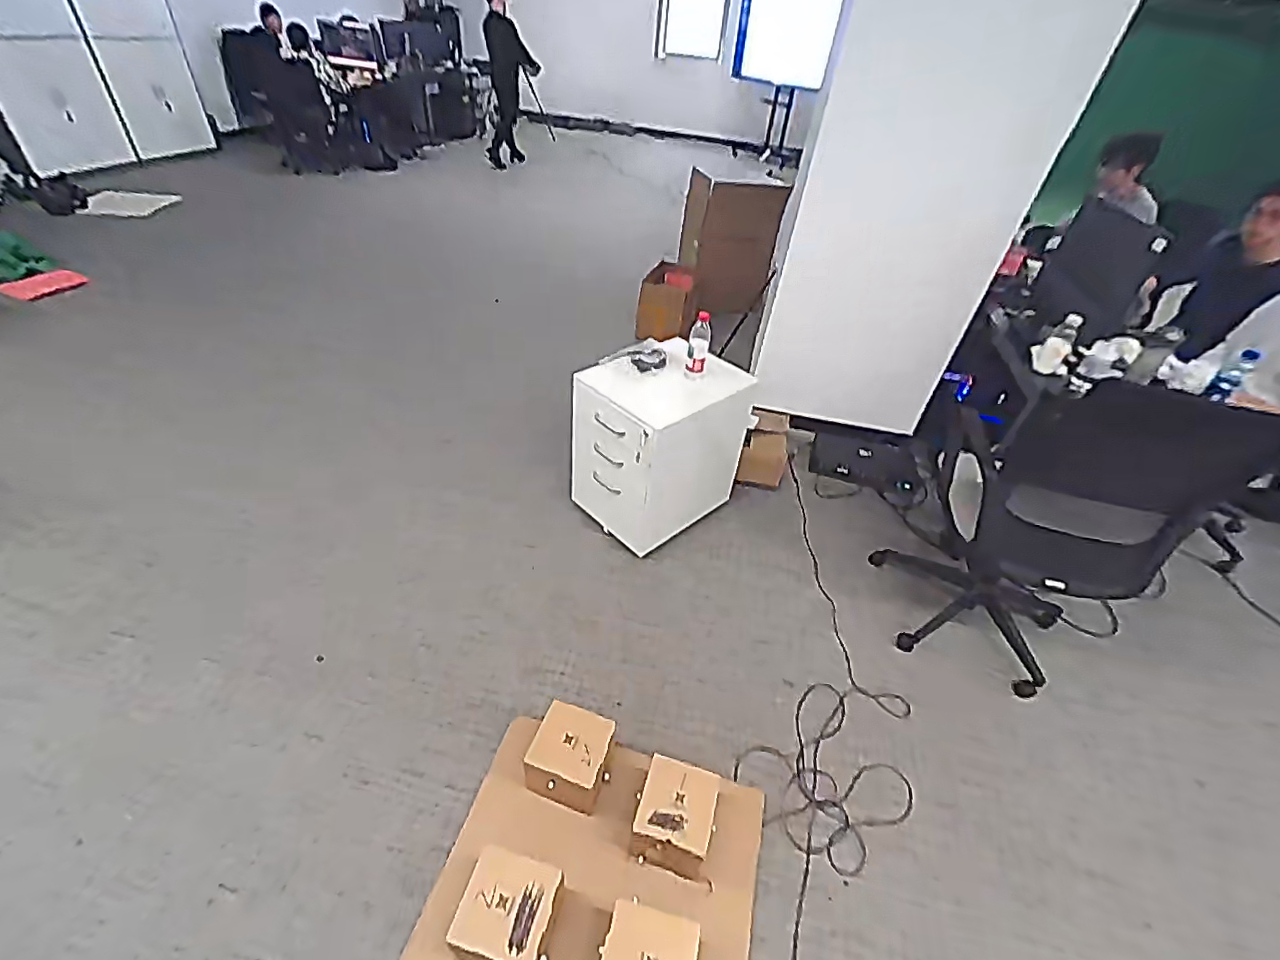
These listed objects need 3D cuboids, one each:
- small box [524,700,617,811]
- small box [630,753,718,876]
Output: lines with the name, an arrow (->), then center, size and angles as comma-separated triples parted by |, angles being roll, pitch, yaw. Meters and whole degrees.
small box -> -0.172, 0.691, 1.351 | 0.179, 0.176, 0.168 | 17, 42, 12
small box -> 0.078, 0.790, 1.272 | 0.168, 0.176, 0.179 | 14, 40, 12
